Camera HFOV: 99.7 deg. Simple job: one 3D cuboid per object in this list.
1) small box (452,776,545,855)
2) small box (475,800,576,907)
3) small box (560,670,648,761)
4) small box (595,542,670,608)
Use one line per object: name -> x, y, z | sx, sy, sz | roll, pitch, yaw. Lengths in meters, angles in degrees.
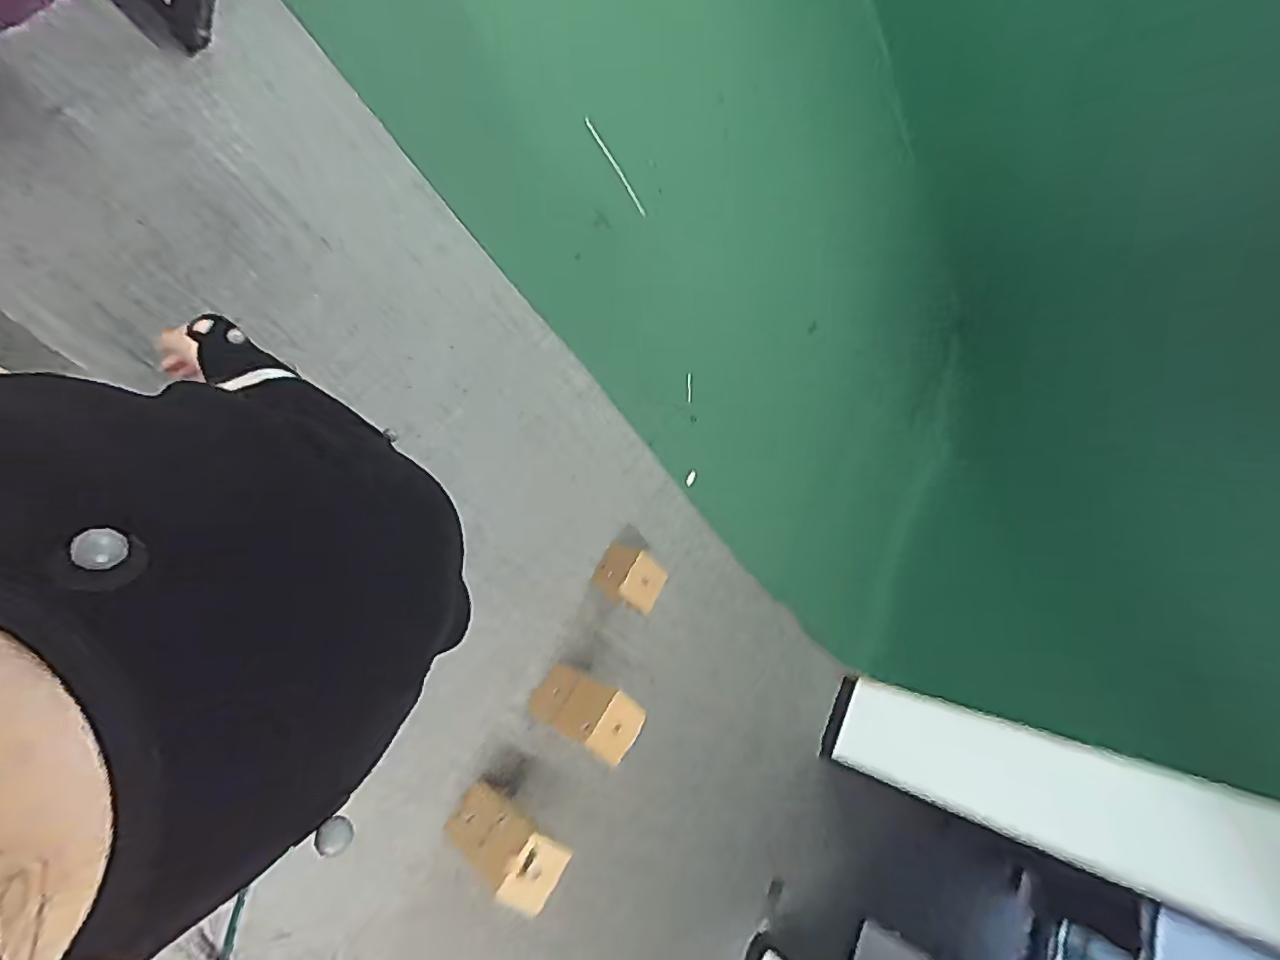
small box -> -0.428, 1.020, 1.618 | 0.179, 0.176, 0.168 | 50, 61, -31
small box -> -0.319, 1.021, 1.493 | 0.168, 0.176, 0.179 | -54, 125, -26
small box -> -0.114, 0.718, 1.667 | 0.168, 0.176, 0.179 | 52, 60, -31
small box -> -0.029, 0.335, 1.946 | 0.179, 0.176, 0.168 | 47, 63, -34
